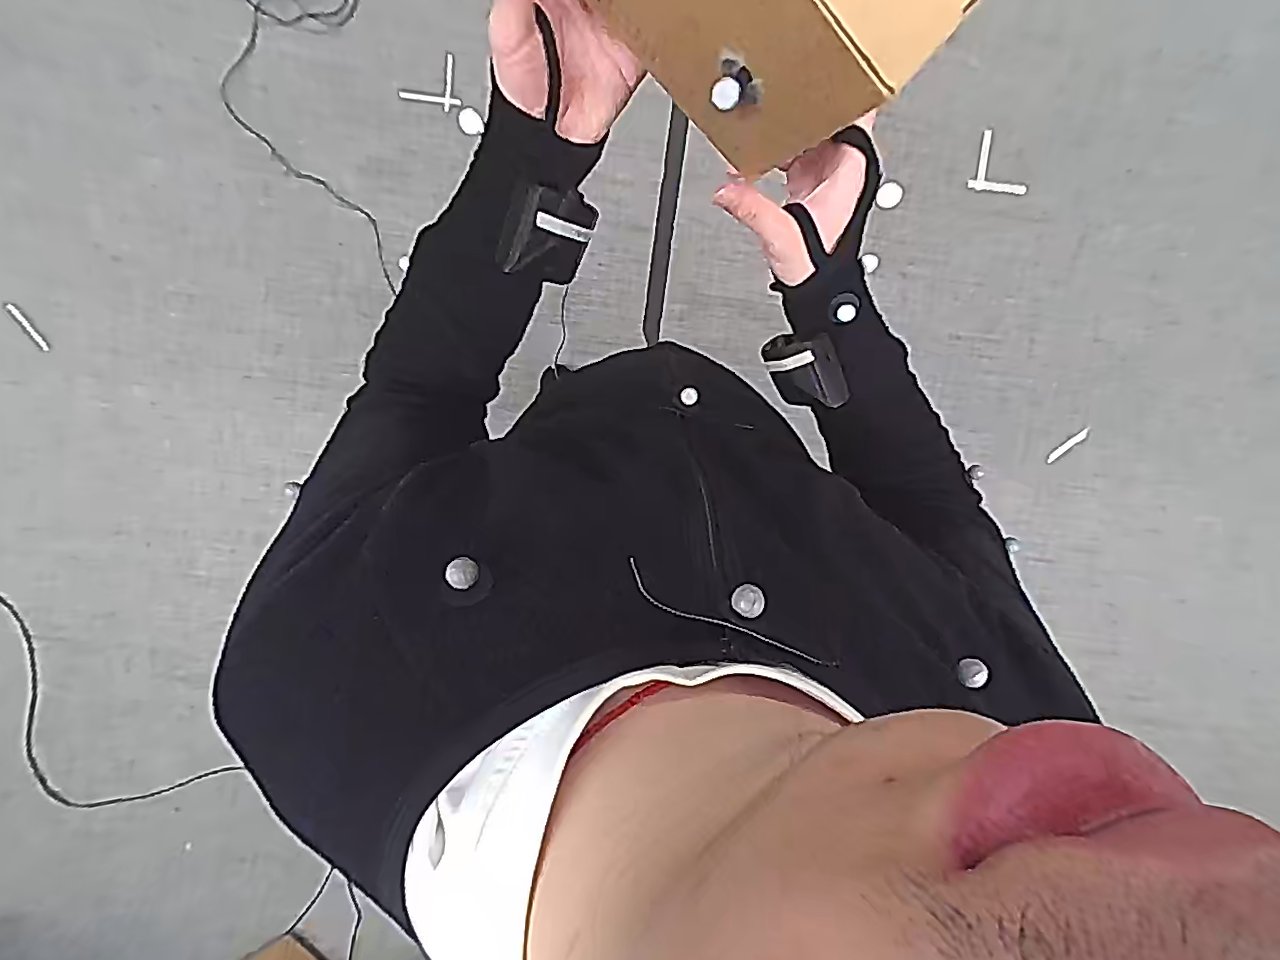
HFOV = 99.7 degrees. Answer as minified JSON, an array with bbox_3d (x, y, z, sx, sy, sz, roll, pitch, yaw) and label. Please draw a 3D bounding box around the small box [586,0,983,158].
[{"bbox_3d":[0.068,-0.271,0.227,0.179,0.176,0.168,38,100,-18],"label":"small box"}]
